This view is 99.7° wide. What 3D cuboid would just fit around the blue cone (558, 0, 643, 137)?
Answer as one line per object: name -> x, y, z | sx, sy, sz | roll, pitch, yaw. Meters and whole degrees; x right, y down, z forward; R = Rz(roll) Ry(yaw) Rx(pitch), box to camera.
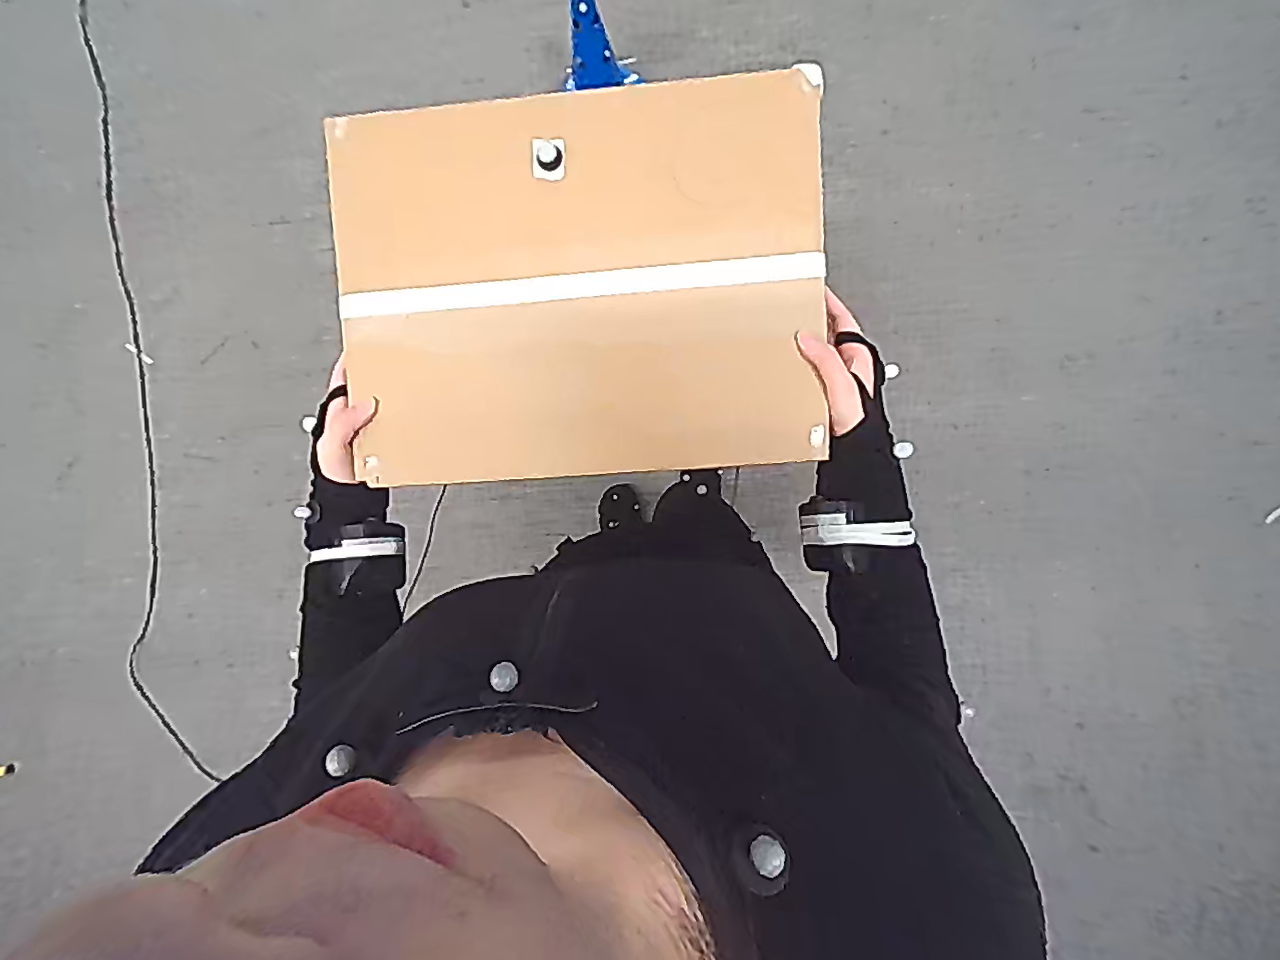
blue cone -> -0.112, -1.019, 1.264 | 0.192, 0.380, 0.193 | 29, 93, 0
